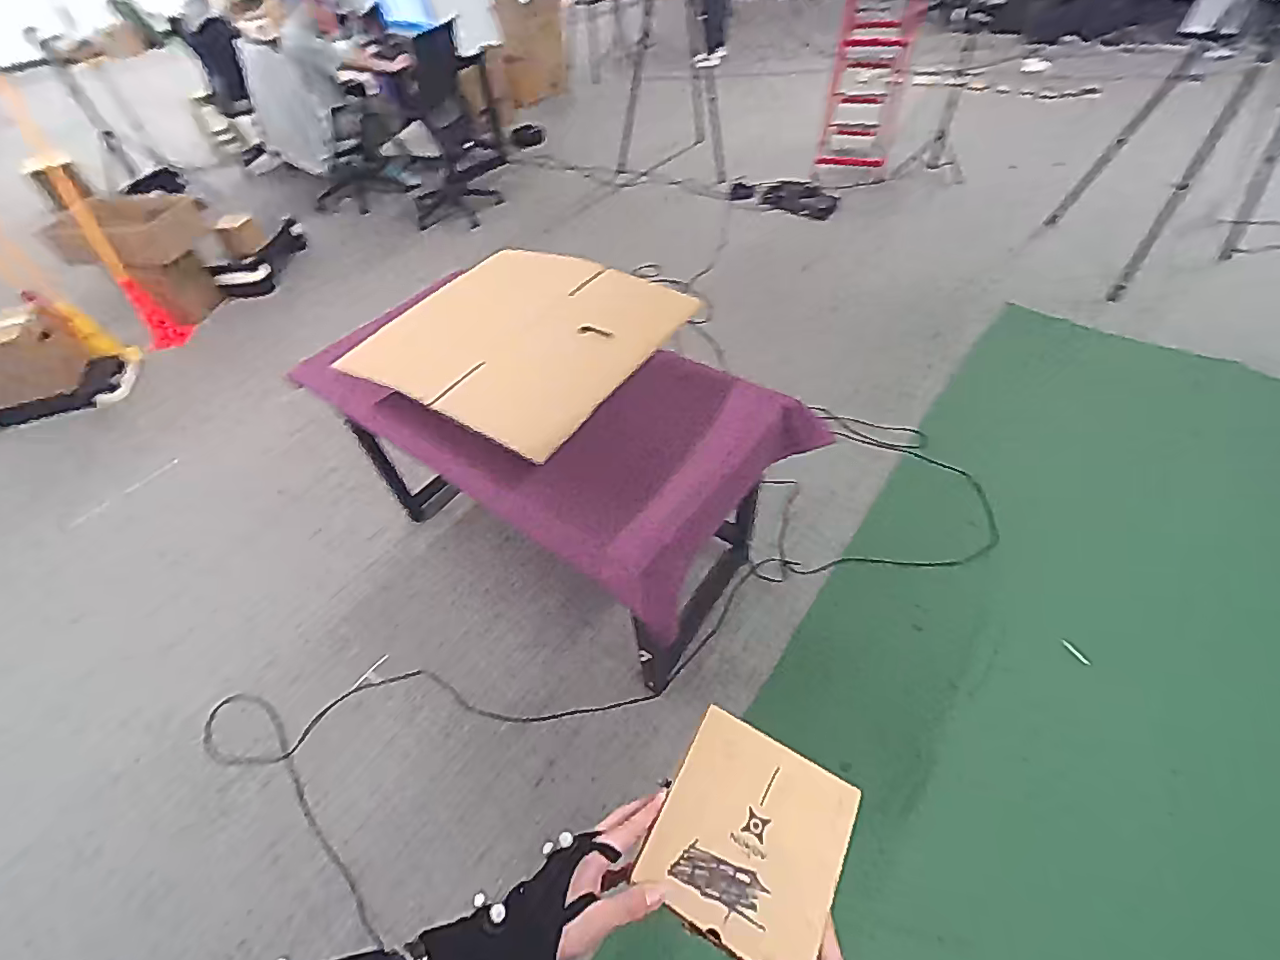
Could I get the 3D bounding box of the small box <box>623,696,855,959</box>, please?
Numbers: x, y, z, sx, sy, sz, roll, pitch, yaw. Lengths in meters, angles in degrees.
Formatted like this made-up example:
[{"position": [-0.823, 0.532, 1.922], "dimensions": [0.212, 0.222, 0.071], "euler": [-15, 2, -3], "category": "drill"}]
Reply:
[{"position": [0.095, 0.365, 0.563], "dimensions": [0.168, 0.176, 0.179], "euler": [25, 56, 15], "category": "small box"}]
